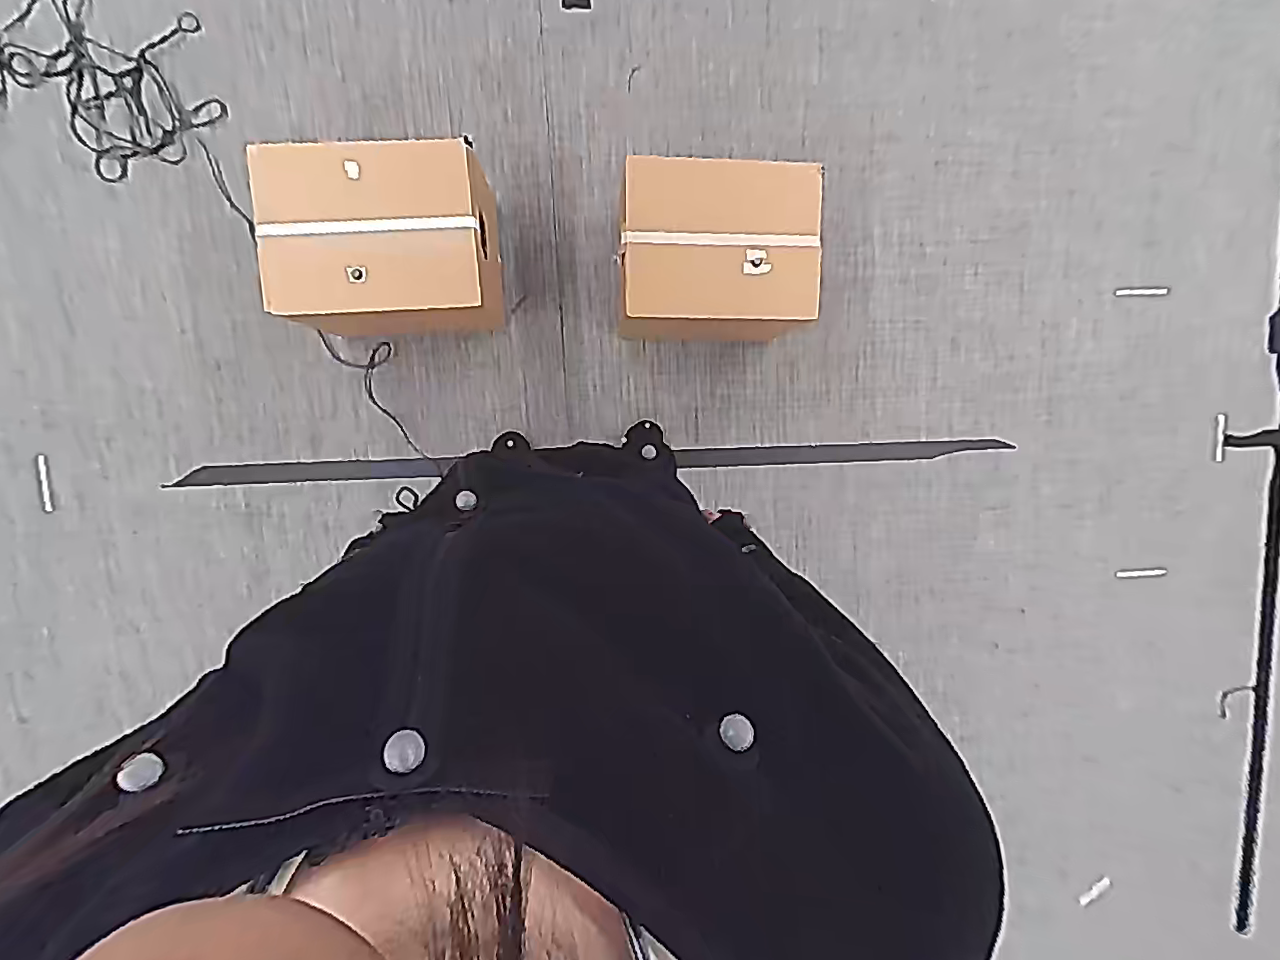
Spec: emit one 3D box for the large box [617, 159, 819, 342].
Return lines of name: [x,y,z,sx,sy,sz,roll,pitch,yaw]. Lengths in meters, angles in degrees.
large box: [0.158,-0.503,1.254,0.408,0.320,0.320,0,96,-6]
